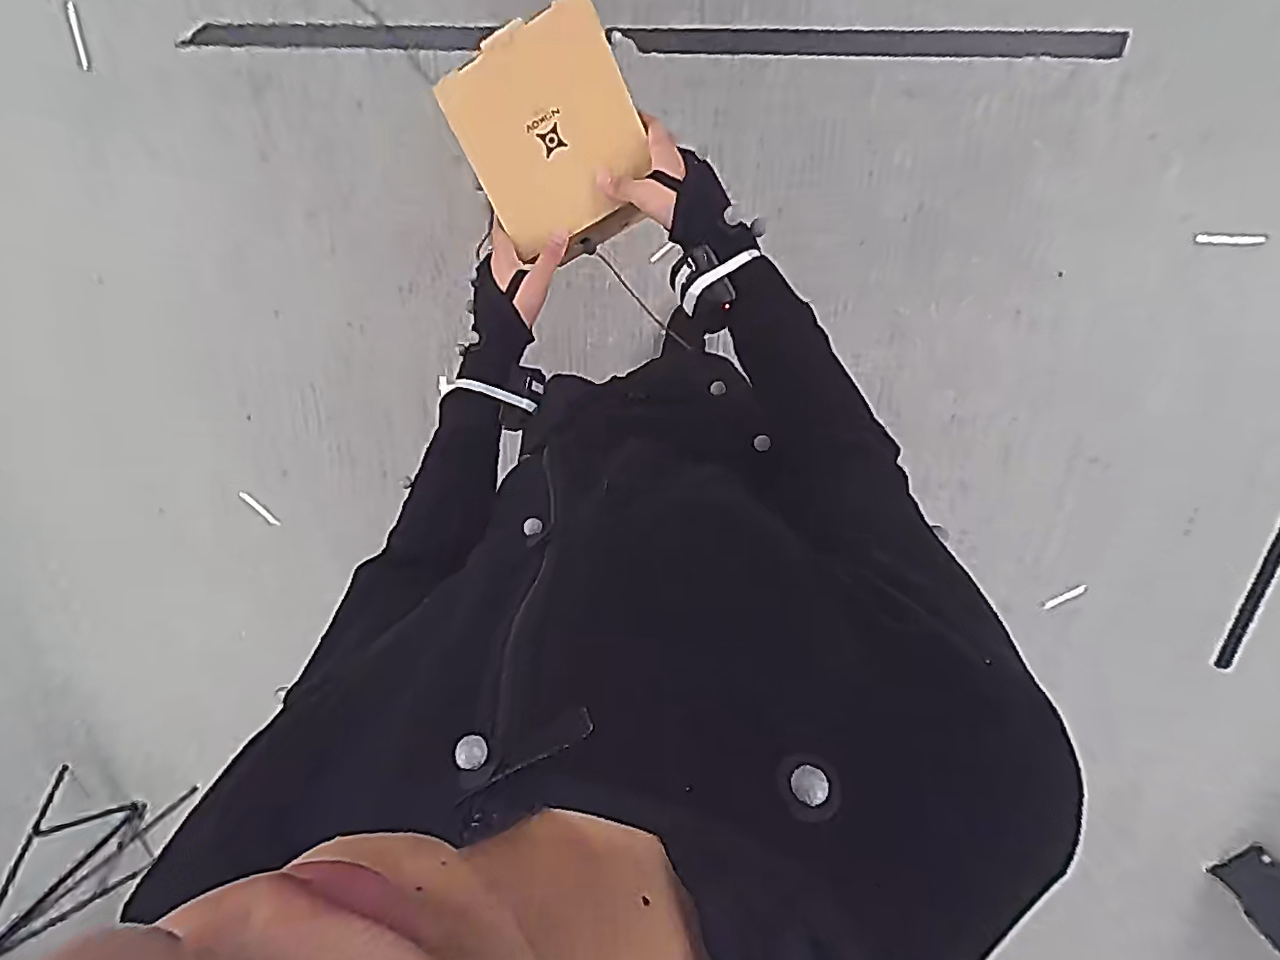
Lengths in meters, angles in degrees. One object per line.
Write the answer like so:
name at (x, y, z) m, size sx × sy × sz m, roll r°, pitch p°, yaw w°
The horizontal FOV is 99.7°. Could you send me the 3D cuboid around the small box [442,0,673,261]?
small box at (-0.070, -0.357, 0.587) m, size 0.168 × 0.176 × 0.179 m, roll -24°, pitch 105°, yaw 13°
